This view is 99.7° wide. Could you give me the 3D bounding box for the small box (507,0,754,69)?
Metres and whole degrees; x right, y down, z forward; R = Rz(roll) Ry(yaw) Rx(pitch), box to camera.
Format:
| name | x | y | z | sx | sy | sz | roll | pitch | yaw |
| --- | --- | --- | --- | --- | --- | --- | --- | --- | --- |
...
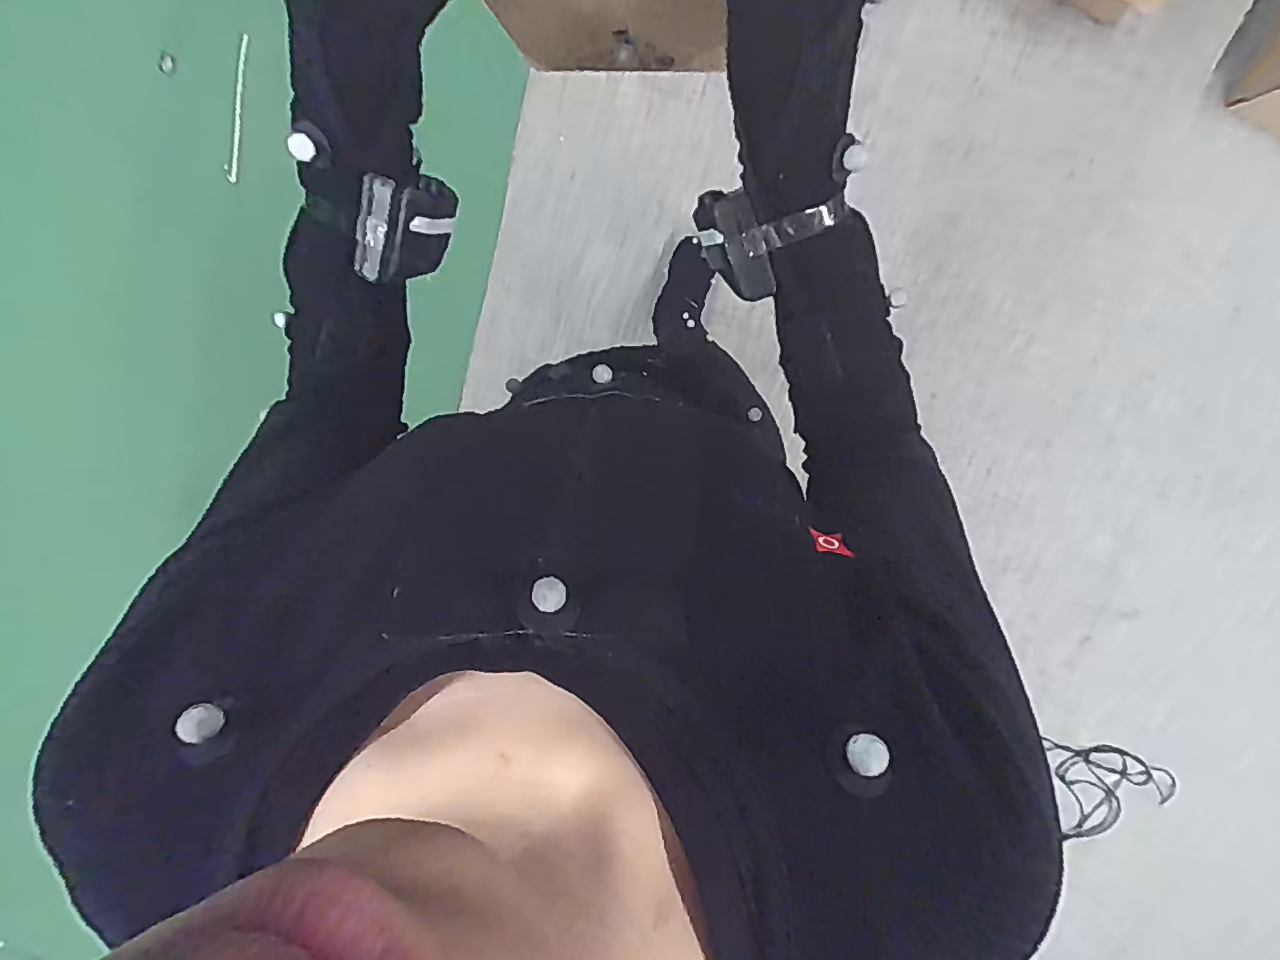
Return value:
| name | x | y | z | sx | sy | sz | roll | pitch | yaw |
| --- | --- | --- | --- | --- | --- | --- | --- | --- | --- |
| small box | -0.007 | -0.374 | 0.307 | 0.168 | 0.176 | 0.179 | 5 | 108 | 6 |
